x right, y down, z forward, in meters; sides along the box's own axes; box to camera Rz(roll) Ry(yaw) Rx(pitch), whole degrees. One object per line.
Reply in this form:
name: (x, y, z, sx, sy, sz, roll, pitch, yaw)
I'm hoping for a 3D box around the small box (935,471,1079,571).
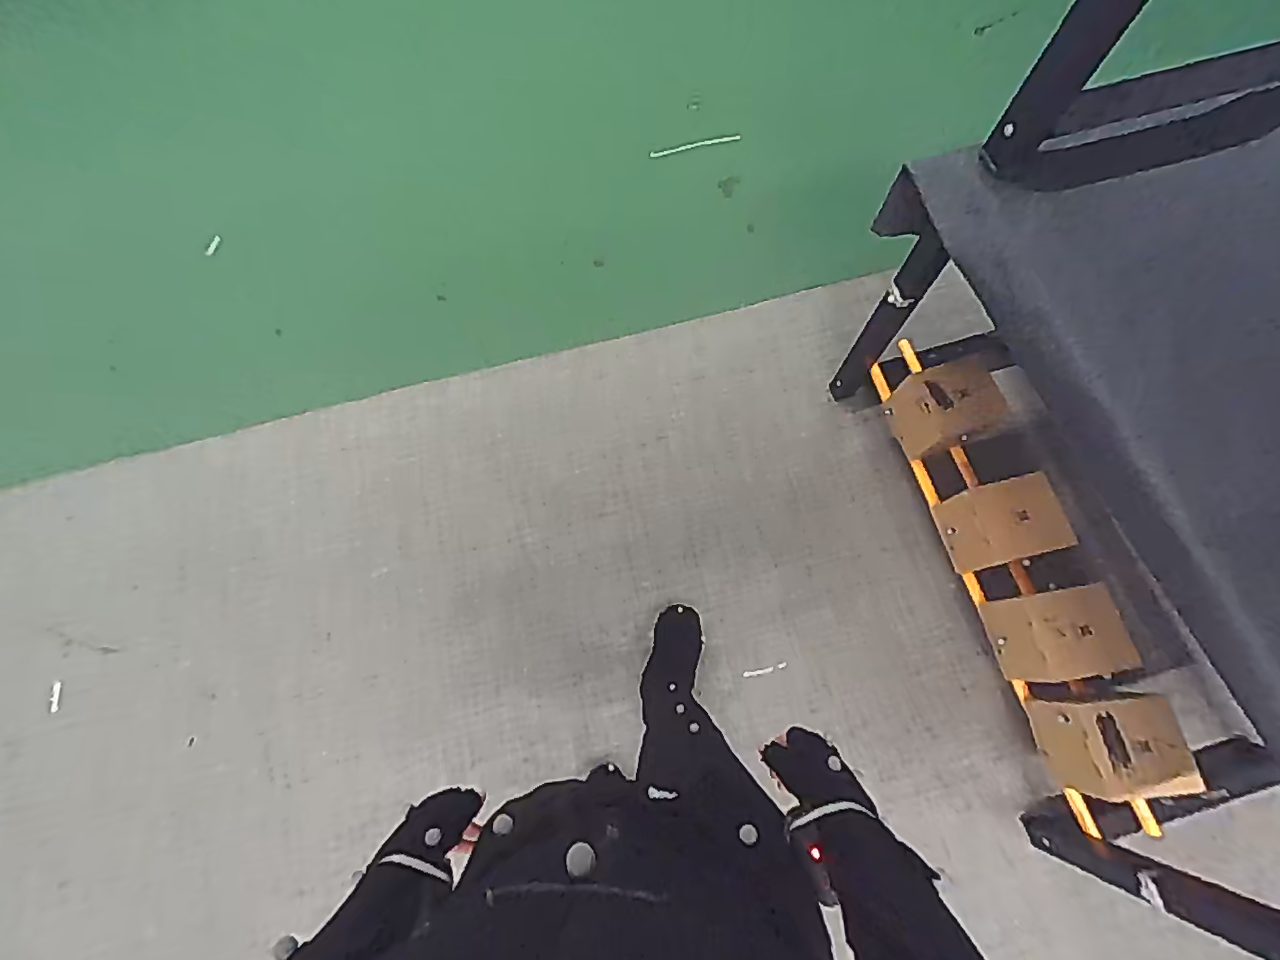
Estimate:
small box: (0.802, 0.096, 1.201, 0.179, 0.176, 0.168, -14, 72, 0)
